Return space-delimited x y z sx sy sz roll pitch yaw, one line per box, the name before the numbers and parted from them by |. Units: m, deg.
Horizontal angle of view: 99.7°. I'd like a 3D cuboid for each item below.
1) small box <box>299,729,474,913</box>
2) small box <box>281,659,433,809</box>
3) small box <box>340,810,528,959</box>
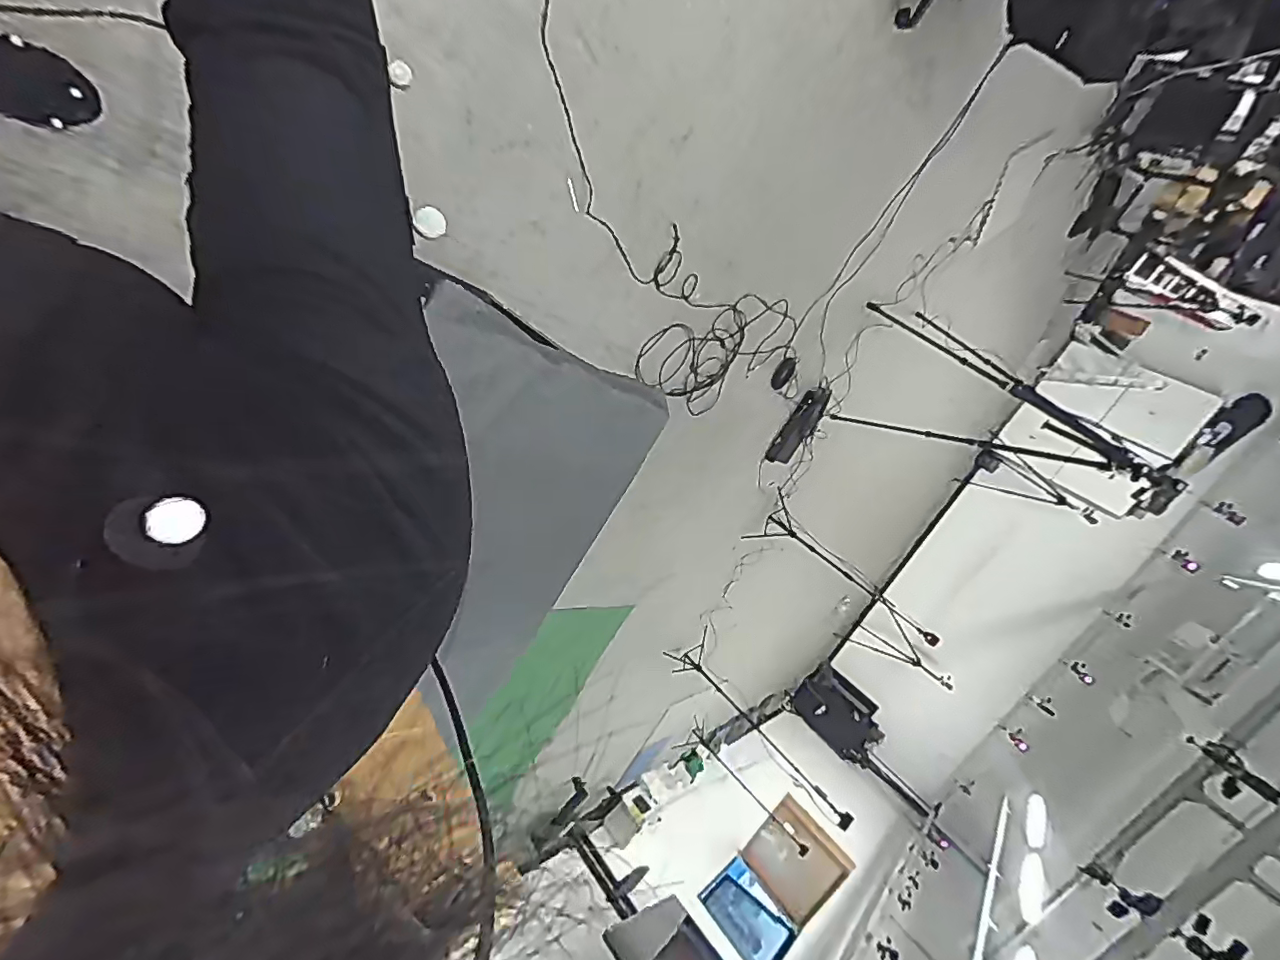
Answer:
small box | -0.417 0.540 0.890 0.168 0.176 0.179 -57 146 8
small box | -0.519 0.454 0.982 0.179 0.176 0.168 -57 148 10
small box | -0.309 0.630 0.805 0.179 0.176 0.168 -56 147 7
